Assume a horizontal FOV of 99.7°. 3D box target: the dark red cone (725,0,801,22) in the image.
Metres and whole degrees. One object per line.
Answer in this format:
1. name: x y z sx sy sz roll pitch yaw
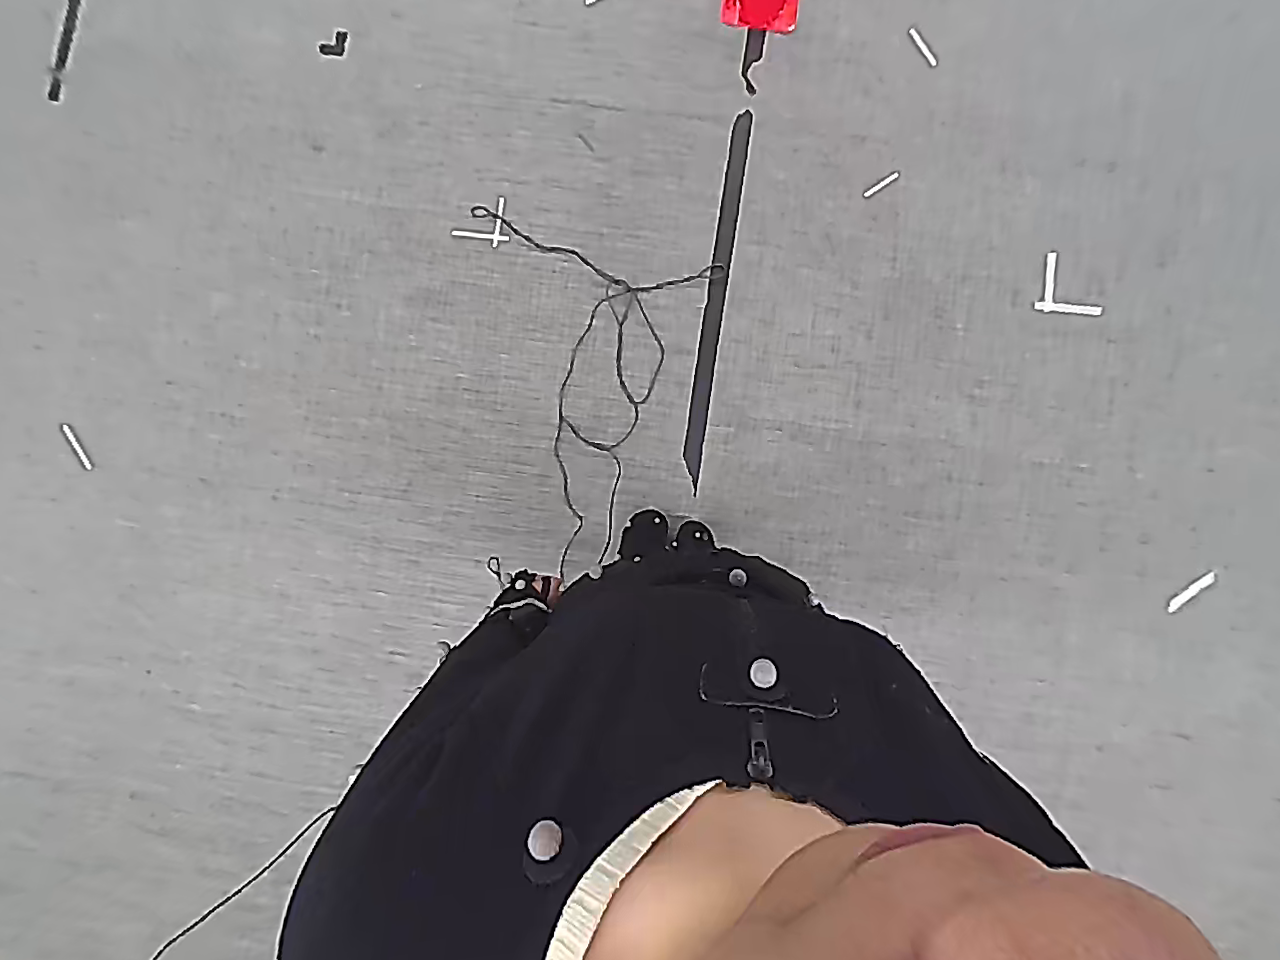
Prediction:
1. dark red cone: 0.323 -1.315 1.255 0.201 0.394 0.202 8 88 2
